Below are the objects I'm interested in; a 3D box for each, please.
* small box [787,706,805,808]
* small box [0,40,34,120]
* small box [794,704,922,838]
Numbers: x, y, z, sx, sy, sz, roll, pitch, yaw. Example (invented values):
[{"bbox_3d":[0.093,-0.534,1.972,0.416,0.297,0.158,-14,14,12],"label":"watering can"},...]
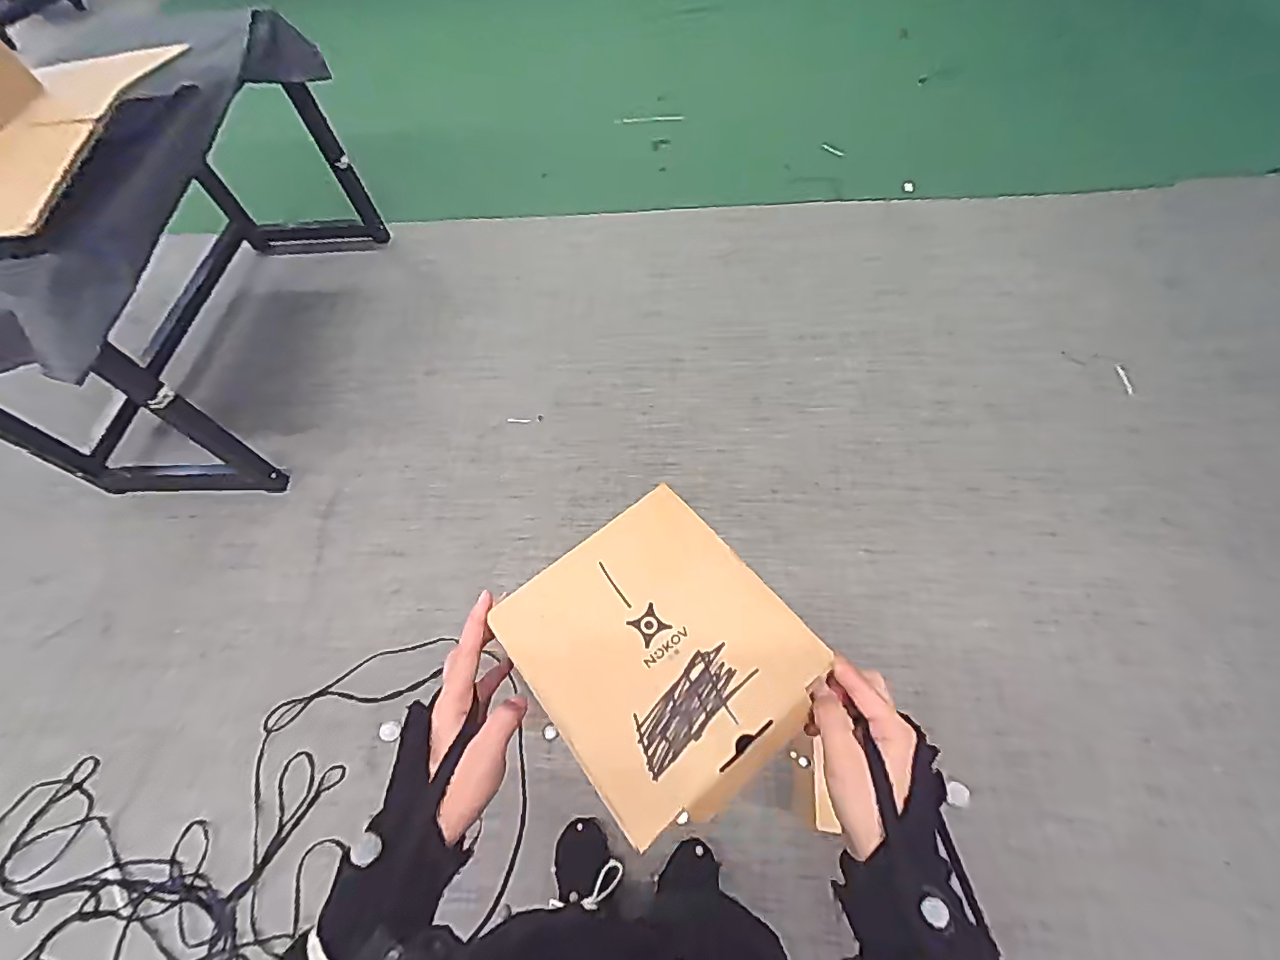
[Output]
[{"bbox_3d":[0.391,0.565,1.083,0.168,0.176,0.179,3,61,7],"label":"small box"},{"bbox_3d":[-1.358,-0.808,1.044,0.168,0.176,0.179,-4,61,6],"label":"small box"},{"bbox_3d":[0.364,0.498,0.935,0.168,0.176,0.179,3,61,7],"label":"small box"}]
